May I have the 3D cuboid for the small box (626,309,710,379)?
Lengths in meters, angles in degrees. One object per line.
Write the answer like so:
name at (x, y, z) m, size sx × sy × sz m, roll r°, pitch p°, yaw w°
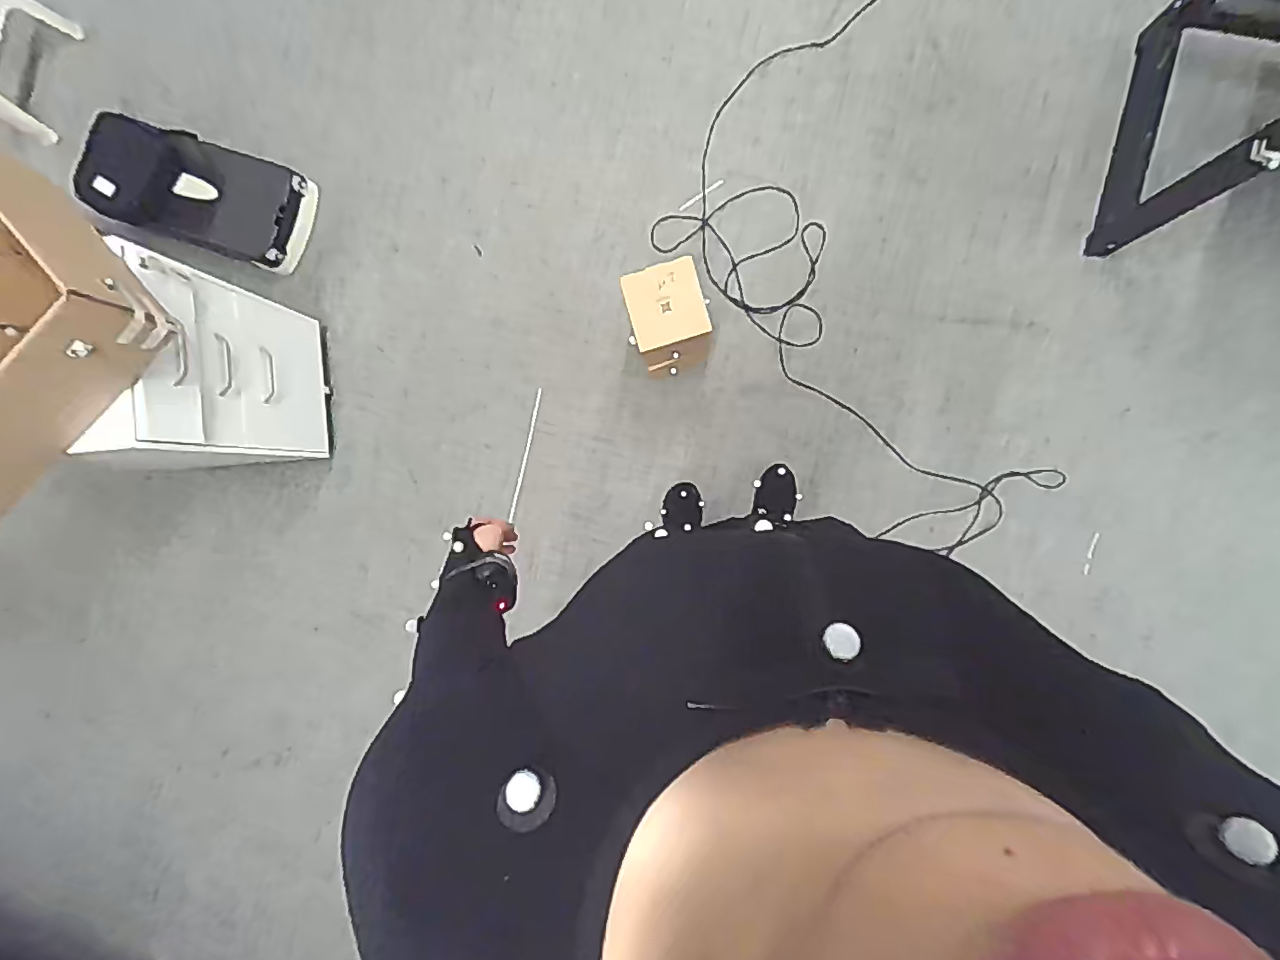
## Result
small box at (0.079, -0.377, 1.419) m, size 0.168 × 0.176 × 0.179 m, roll -22°, pitch 88°, yaw 6°

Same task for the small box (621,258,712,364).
small box at (0.065, -0.379, 1.255) m, size 0.168 × 0.176 × 0.179 m, roll -16°, pitch 88°, yaw 5°
